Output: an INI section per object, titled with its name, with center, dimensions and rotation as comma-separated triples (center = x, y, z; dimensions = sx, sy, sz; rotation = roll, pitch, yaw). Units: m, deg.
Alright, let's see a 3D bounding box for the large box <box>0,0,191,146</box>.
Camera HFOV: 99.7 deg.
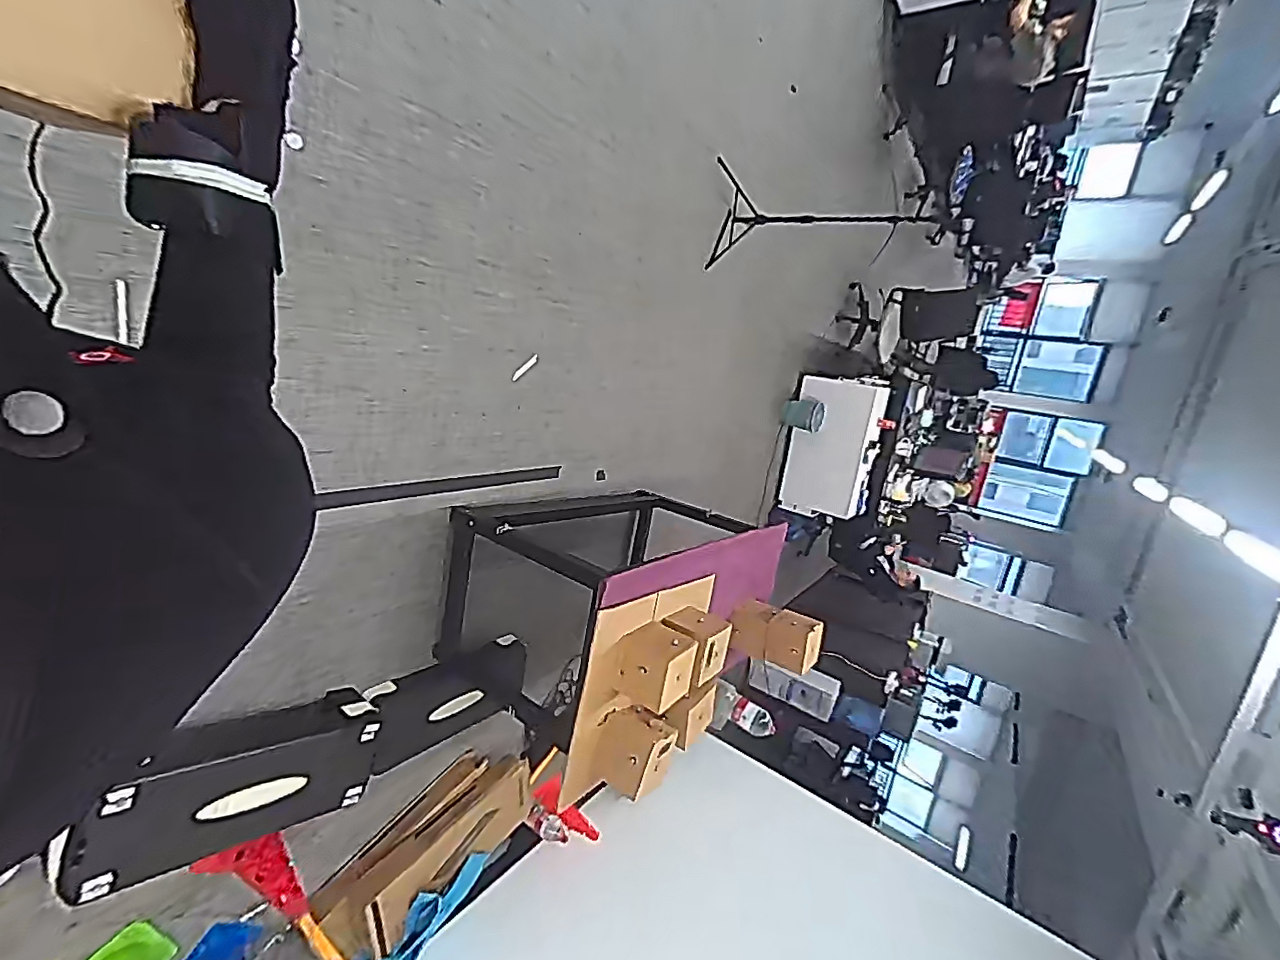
[large box]
center = -0.526, -0.420, 0.267
dimensions = 0.408, 0.320, 0.320
rotation = -9, 120, -56
